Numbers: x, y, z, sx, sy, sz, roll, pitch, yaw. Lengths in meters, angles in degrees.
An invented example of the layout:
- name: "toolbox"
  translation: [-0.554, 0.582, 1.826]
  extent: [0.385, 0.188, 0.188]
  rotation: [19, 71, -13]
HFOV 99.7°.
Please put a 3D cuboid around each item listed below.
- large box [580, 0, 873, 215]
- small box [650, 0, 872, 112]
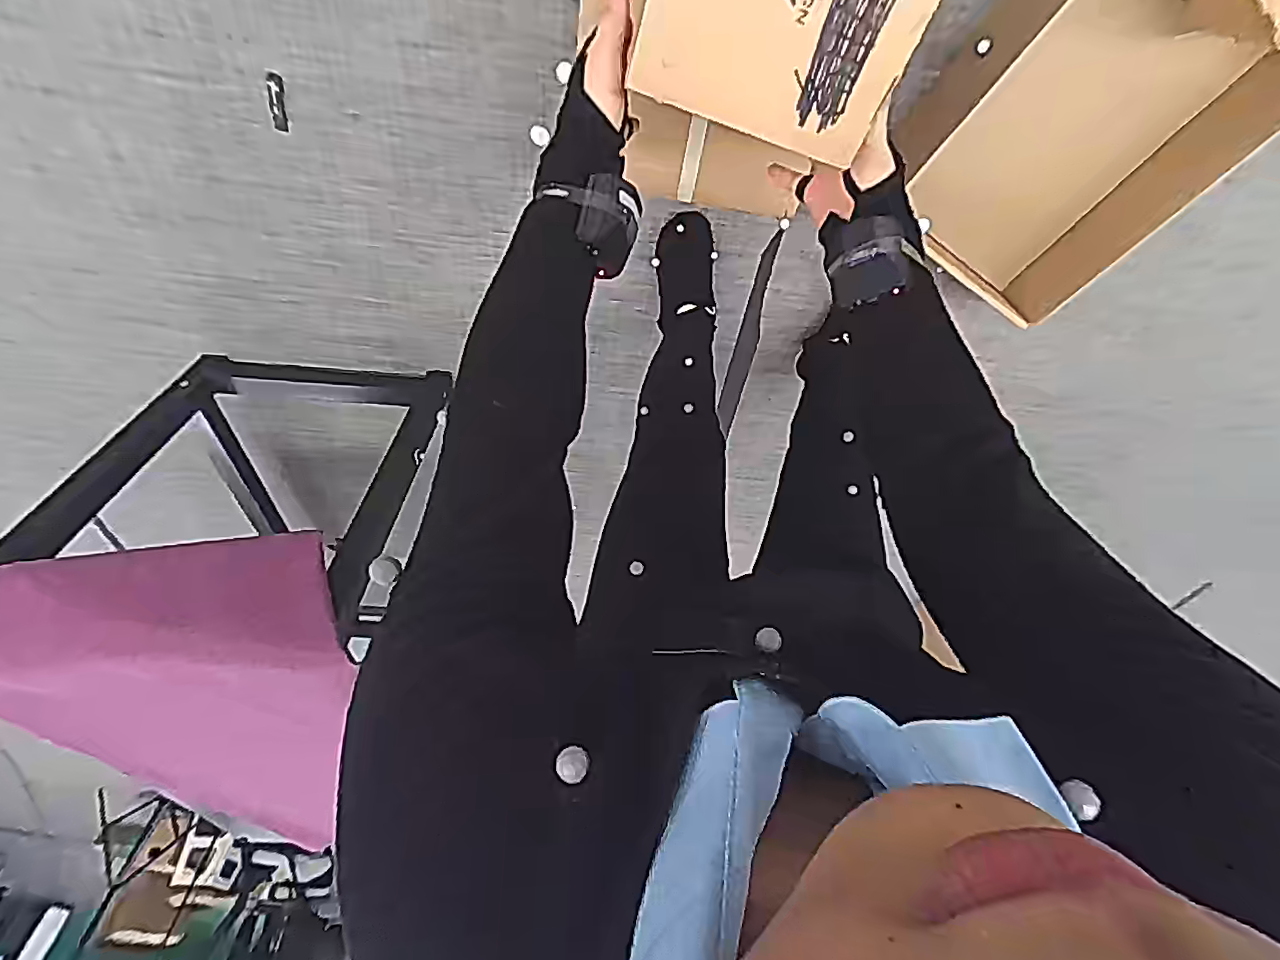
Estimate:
- name: "large box"
  translation: [0.100, -0.624, 0.694]
  extent: [0.320, 0.320, 0.408]
  rotation: [8, 136, -4]
- name: "small box"
  translation: [0.112, -0.473, 0.498]
  extent: [0.179, 0.176, 0.168]
  rotation: [9, 135, -9]
